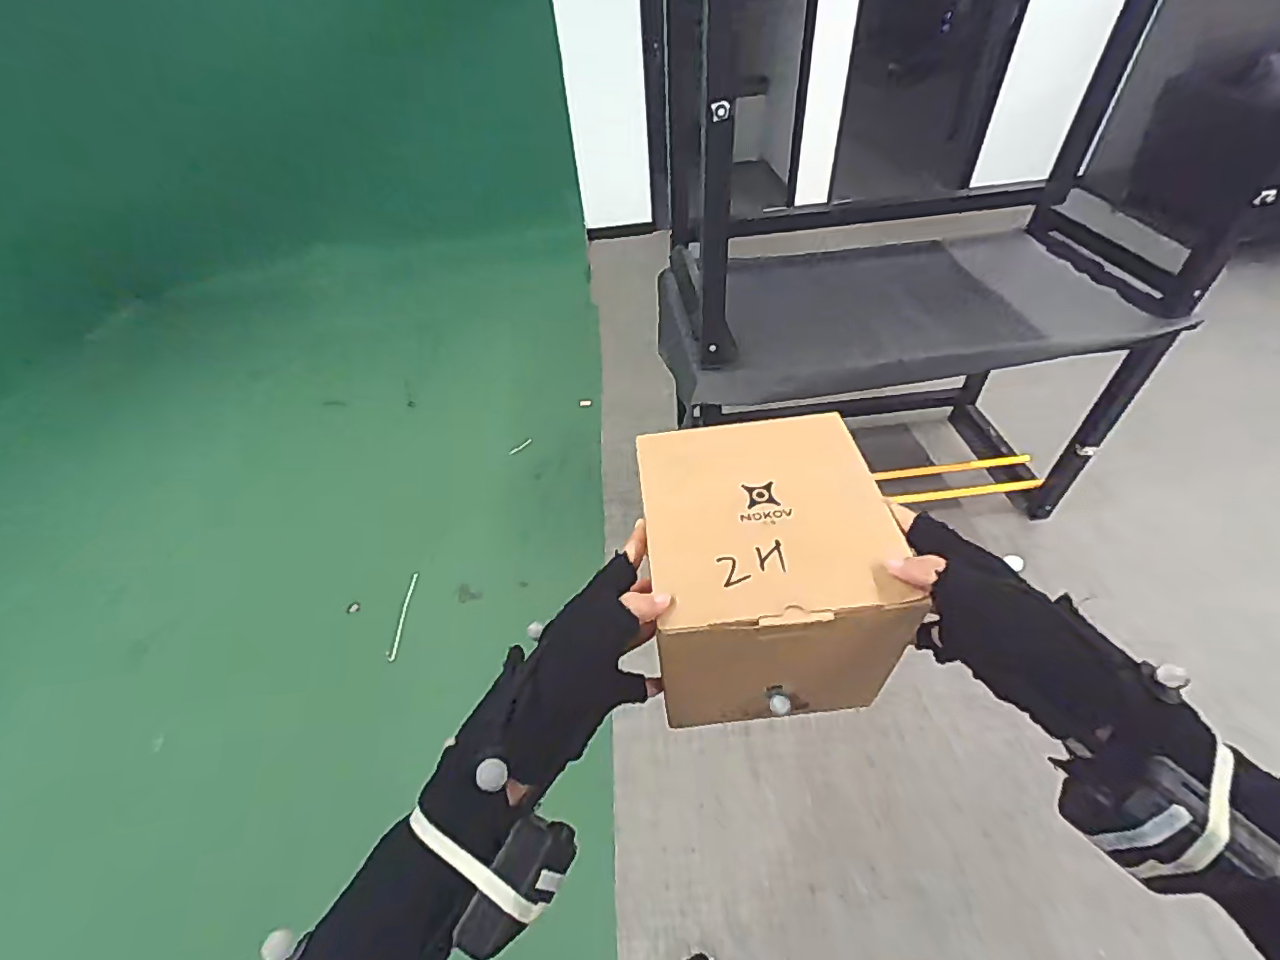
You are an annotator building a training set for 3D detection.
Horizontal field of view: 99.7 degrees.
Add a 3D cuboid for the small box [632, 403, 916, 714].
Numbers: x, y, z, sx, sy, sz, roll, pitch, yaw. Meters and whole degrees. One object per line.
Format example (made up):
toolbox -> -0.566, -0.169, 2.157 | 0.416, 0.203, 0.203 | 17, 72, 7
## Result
small box -> 0.084, 0.063, 0.435 | 0.168, 0.176, 0.179 | -7, 46, 1
